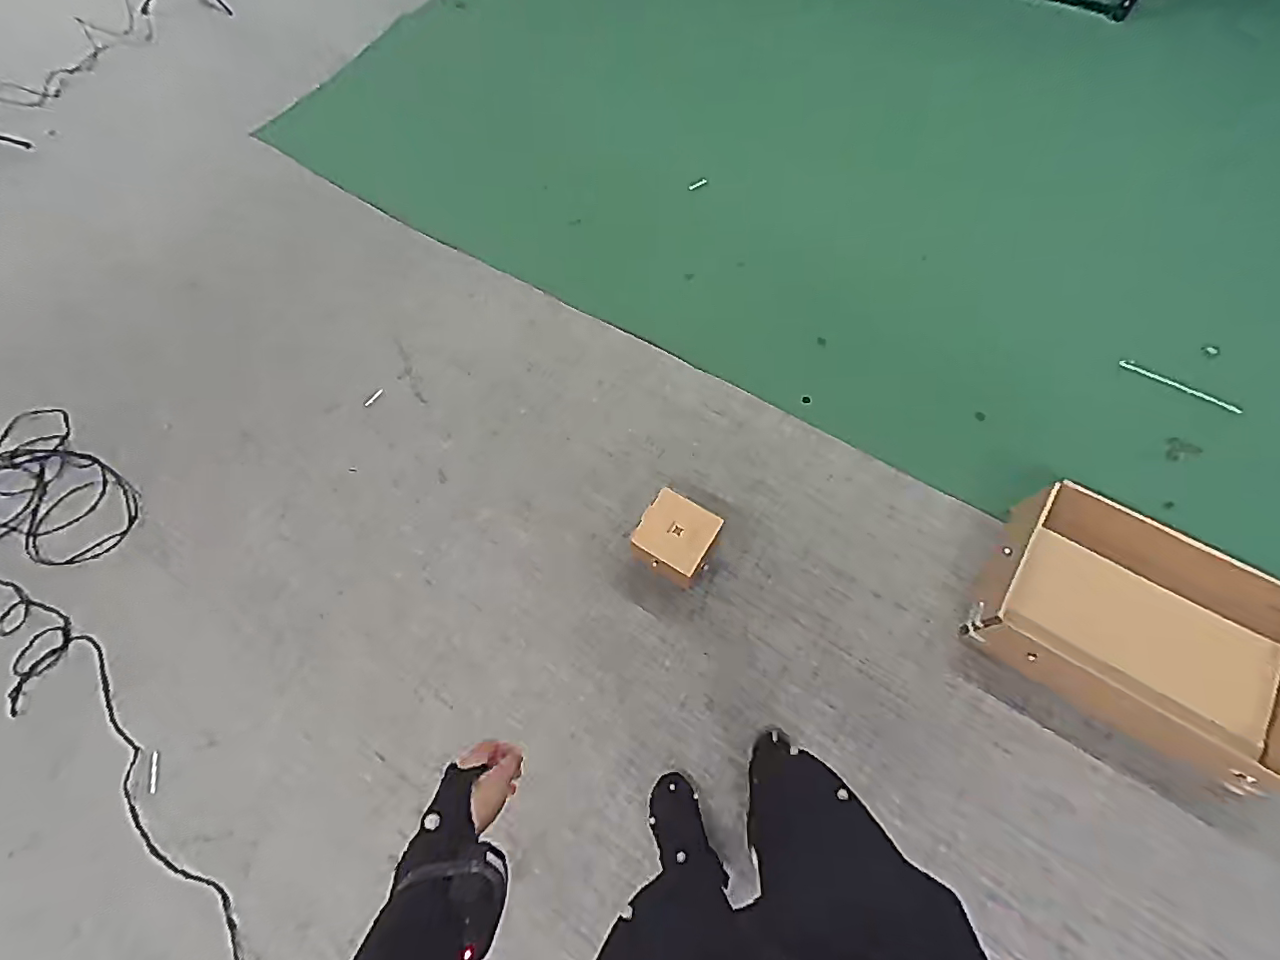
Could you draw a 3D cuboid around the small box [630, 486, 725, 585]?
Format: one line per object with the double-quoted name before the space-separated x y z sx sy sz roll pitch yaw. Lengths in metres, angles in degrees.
"small box" 0.094 0.148 1.362 0.179 0.176 0.168 30 74 13
